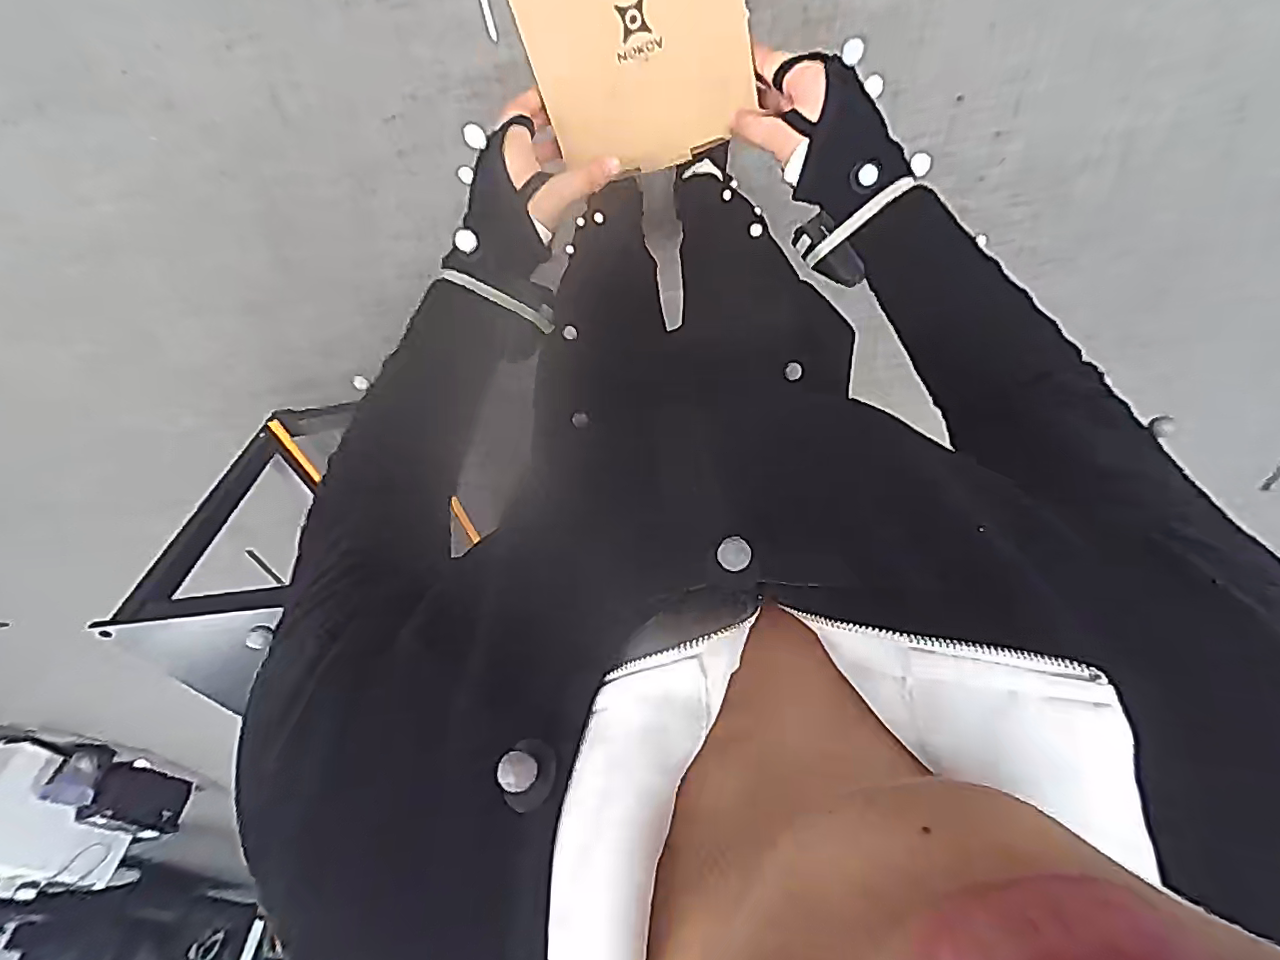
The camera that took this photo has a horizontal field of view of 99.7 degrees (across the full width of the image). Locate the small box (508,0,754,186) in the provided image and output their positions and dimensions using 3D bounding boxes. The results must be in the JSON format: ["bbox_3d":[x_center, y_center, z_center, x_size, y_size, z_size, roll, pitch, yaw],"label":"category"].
[{"bbox_3d":[-0.007,-0.385,0.459,0.168,0.176,0.179,-13,130,10],"label":"small box"}]
